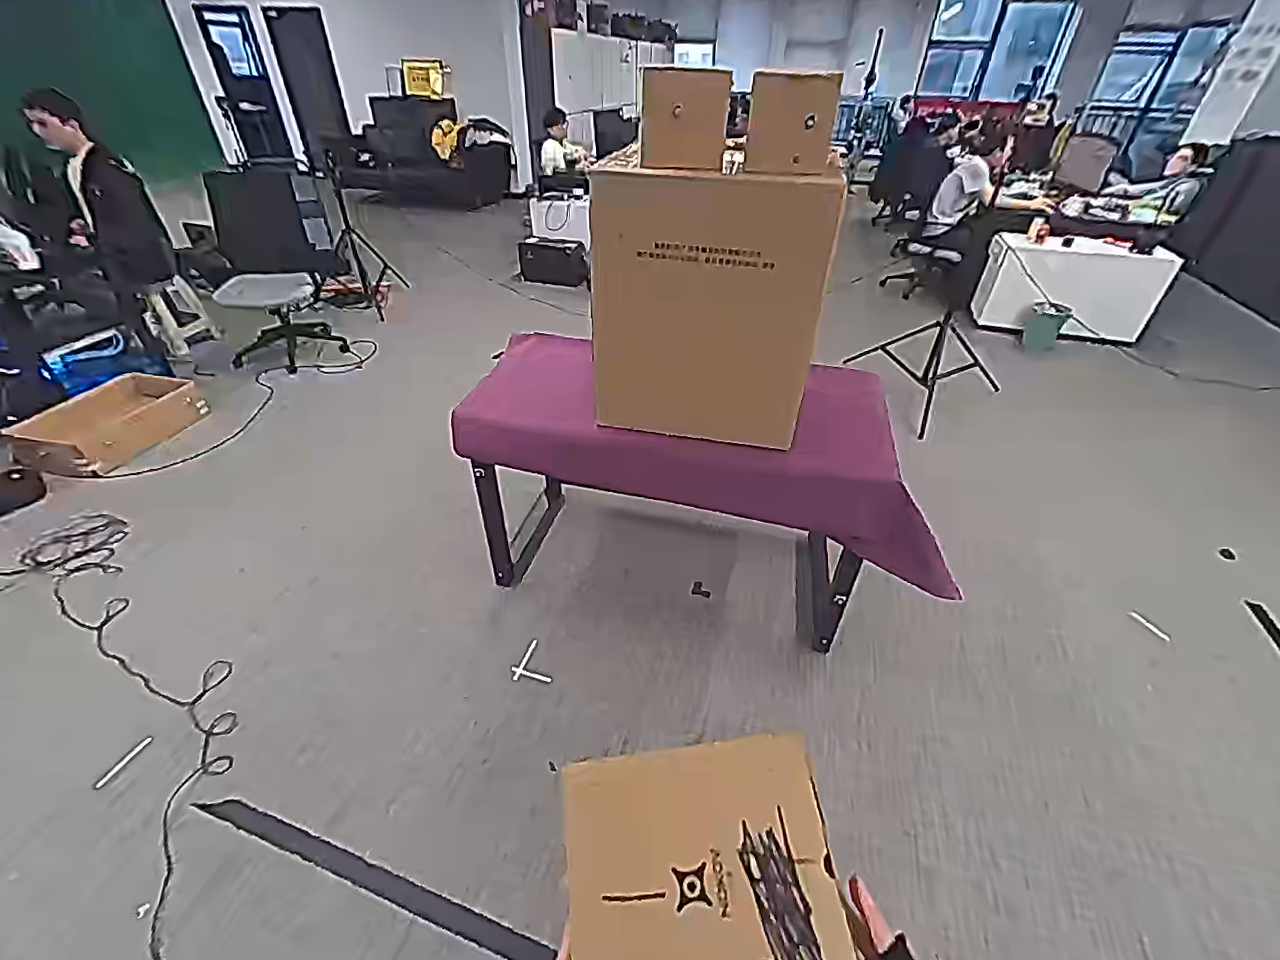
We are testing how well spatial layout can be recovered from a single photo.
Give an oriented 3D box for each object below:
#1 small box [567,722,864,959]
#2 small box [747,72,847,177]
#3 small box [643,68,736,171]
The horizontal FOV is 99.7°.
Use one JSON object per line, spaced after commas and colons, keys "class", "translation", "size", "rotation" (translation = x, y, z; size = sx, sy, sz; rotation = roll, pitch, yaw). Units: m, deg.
{"class": "small box", "translation": [0.041, 0.294, 0.413], "size": [0.179, 0.176, 0.168], "rotation": [-6, 57, -4]}
{"class": "small box", "translation": [0.316, -0.731, 1.111], "size": [0.168, 0.176, 0.179], "rotation": [9, 38, 9]}
{"class": "small box", "translation": [0.095, -0.758, 1.137], "size": [0.179, 0.176, 0.168], "rotation": [1, 39, -2]}
